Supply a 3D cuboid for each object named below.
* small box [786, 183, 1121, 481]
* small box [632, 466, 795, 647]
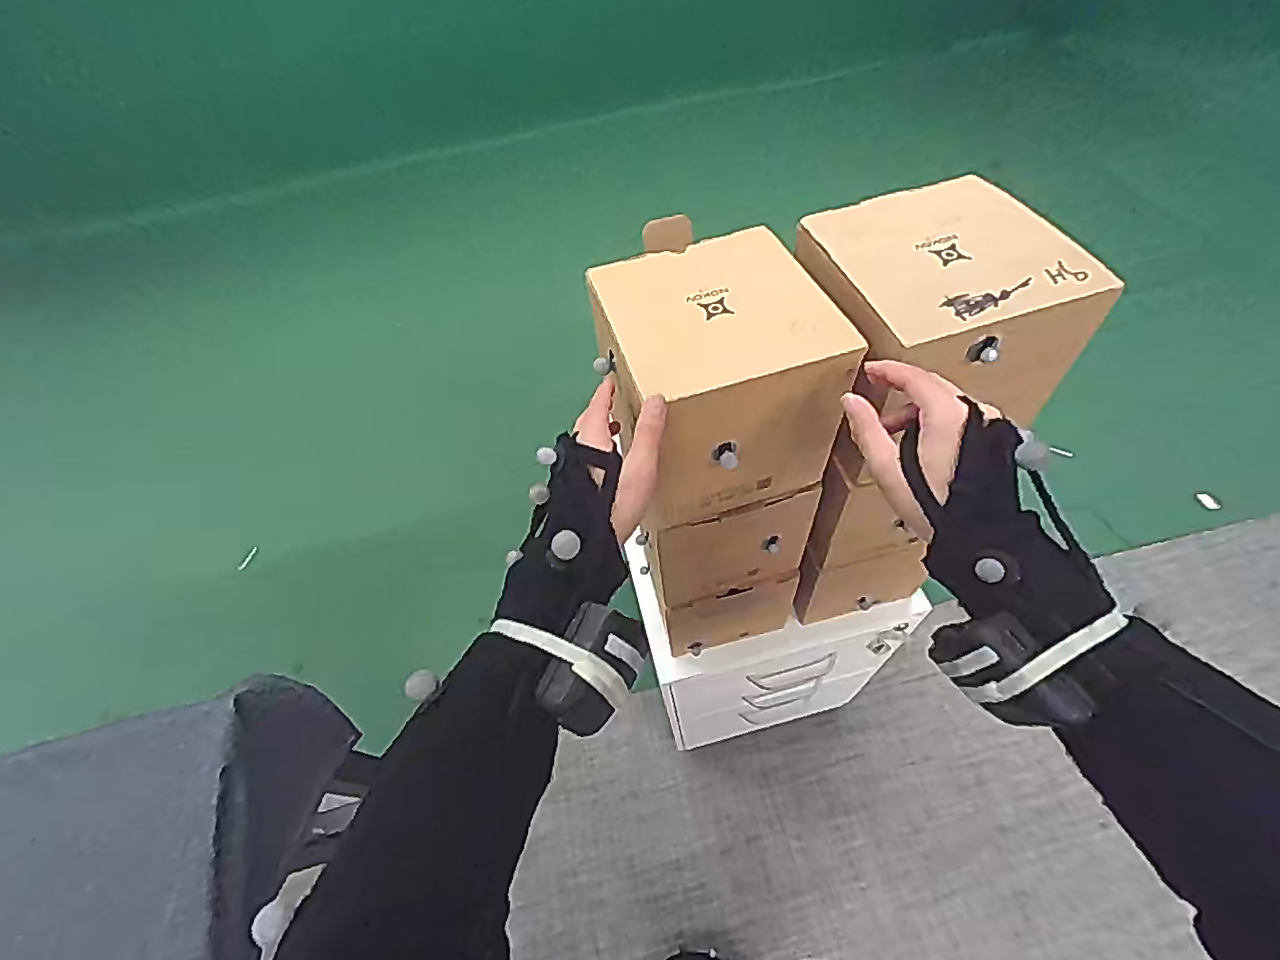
[{"bbox_3d":[0.244,-0.128,0.482,0.168,0.176,0.179,-15,54,-3],"label":"small box"},{"bbox_3d":[0.093,0.112,0.736,0.168,0.176,0.179,-13,53,-4],"label":"small box"}]
